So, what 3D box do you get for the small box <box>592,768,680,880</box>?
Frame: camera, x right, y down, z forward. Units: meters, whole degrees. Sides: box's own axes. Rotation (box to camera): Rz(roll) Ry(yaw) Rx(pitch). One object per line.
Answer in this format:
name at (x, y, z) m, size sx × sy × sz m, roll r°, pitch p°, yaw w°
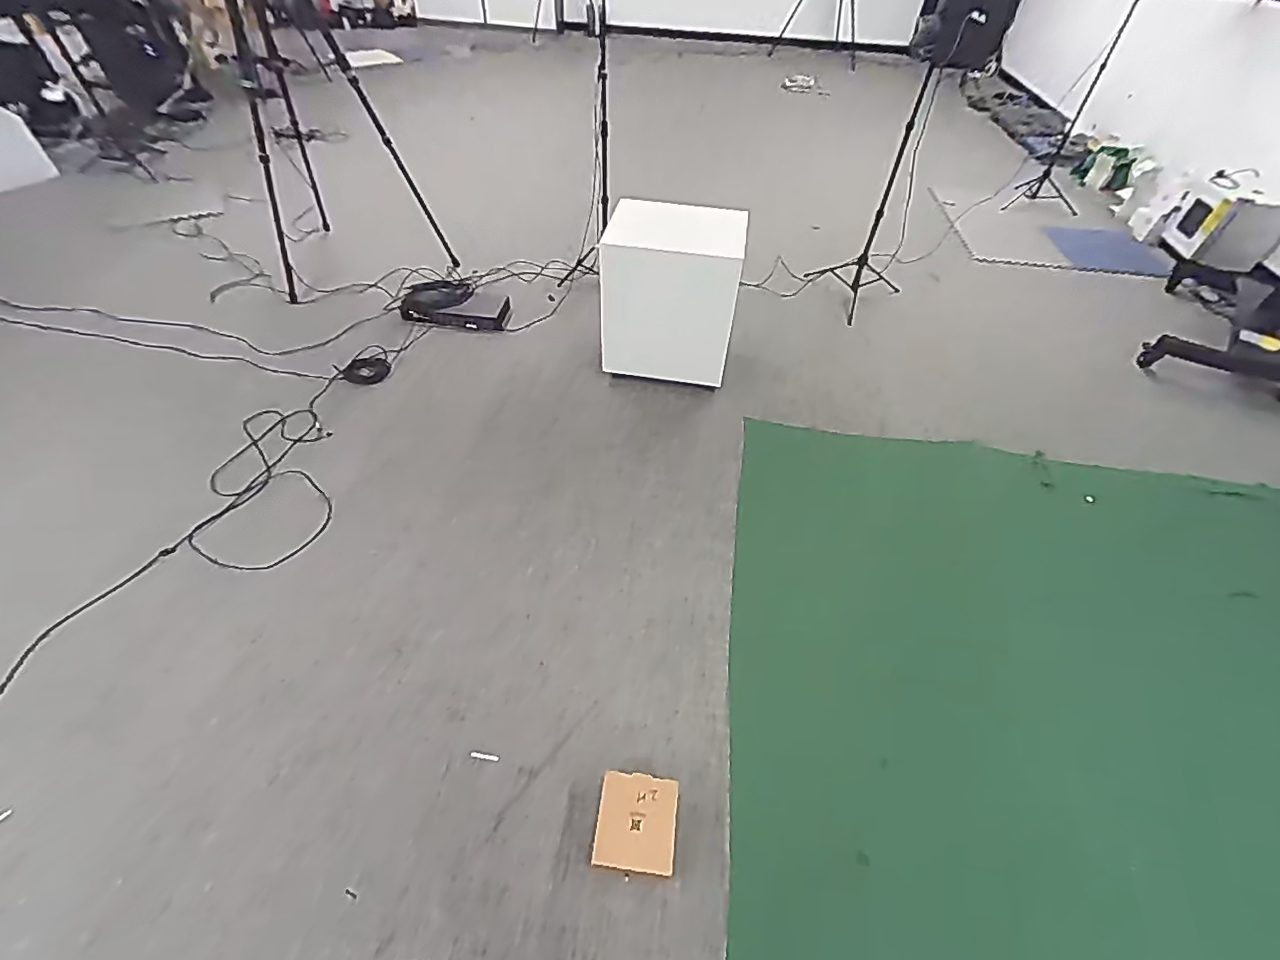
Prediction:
small box at (-0.008, 0.759, 1.188) m, size 0.168 × 0.176 × 0.179 m, roll 8°, pitch 49°, yaw 3°
